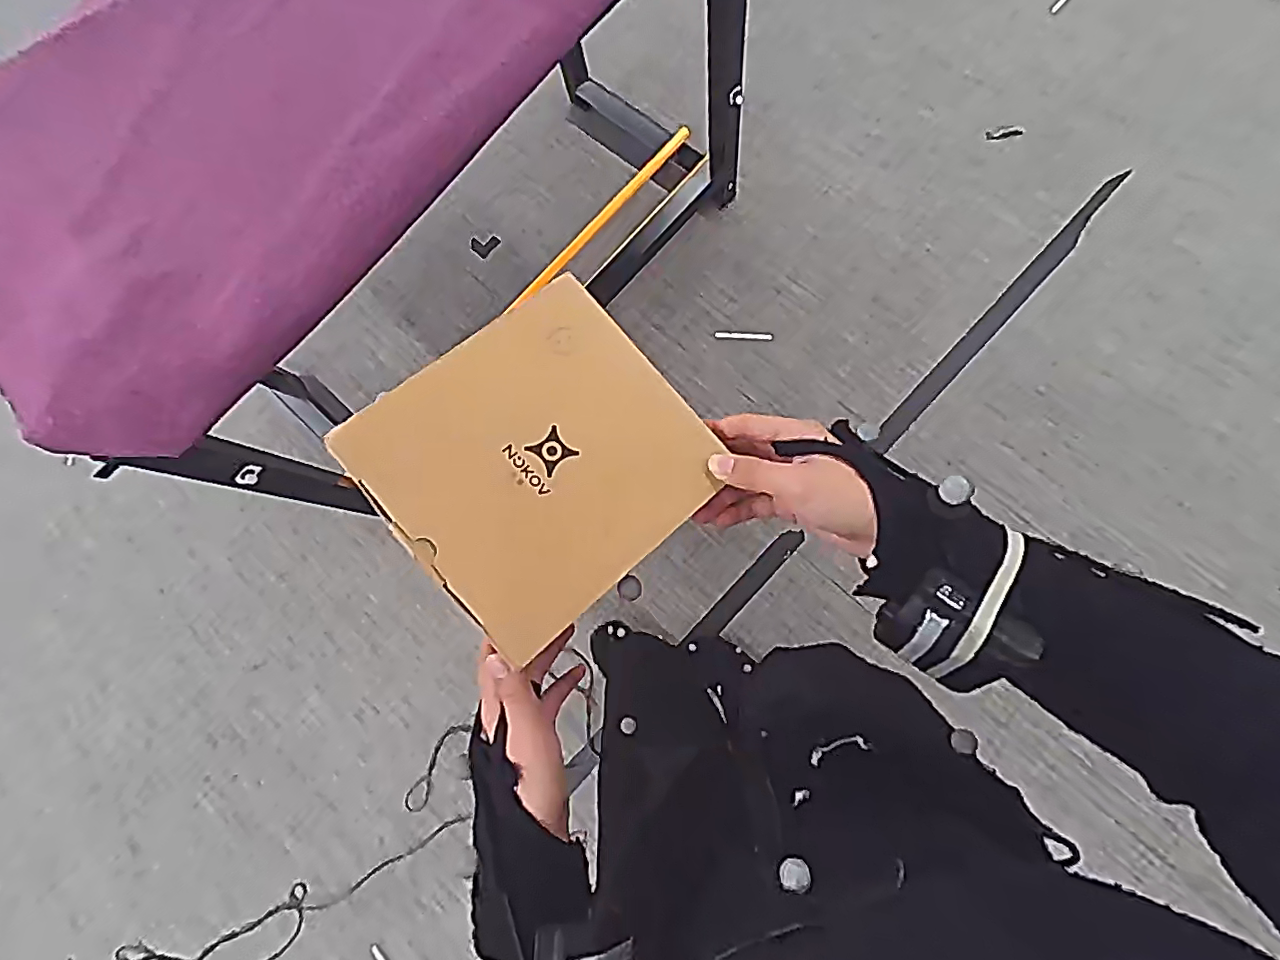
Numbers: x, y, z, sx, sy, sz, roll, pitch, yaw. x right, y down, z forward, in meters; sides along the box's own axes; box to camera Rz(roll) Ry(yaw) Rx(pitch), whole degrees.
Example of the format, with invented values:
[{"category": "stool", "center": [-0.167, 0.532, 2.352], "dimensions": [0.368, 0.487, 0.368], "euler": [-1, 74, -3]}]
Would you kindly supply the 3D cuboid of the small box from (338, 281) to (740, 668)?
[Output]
[{"category": "small box", "center": [-0.066, 0.002, 0.390], "dimensions": [0.179, 0.176, 0.168], "euler": [-40, 87, -14]}]
